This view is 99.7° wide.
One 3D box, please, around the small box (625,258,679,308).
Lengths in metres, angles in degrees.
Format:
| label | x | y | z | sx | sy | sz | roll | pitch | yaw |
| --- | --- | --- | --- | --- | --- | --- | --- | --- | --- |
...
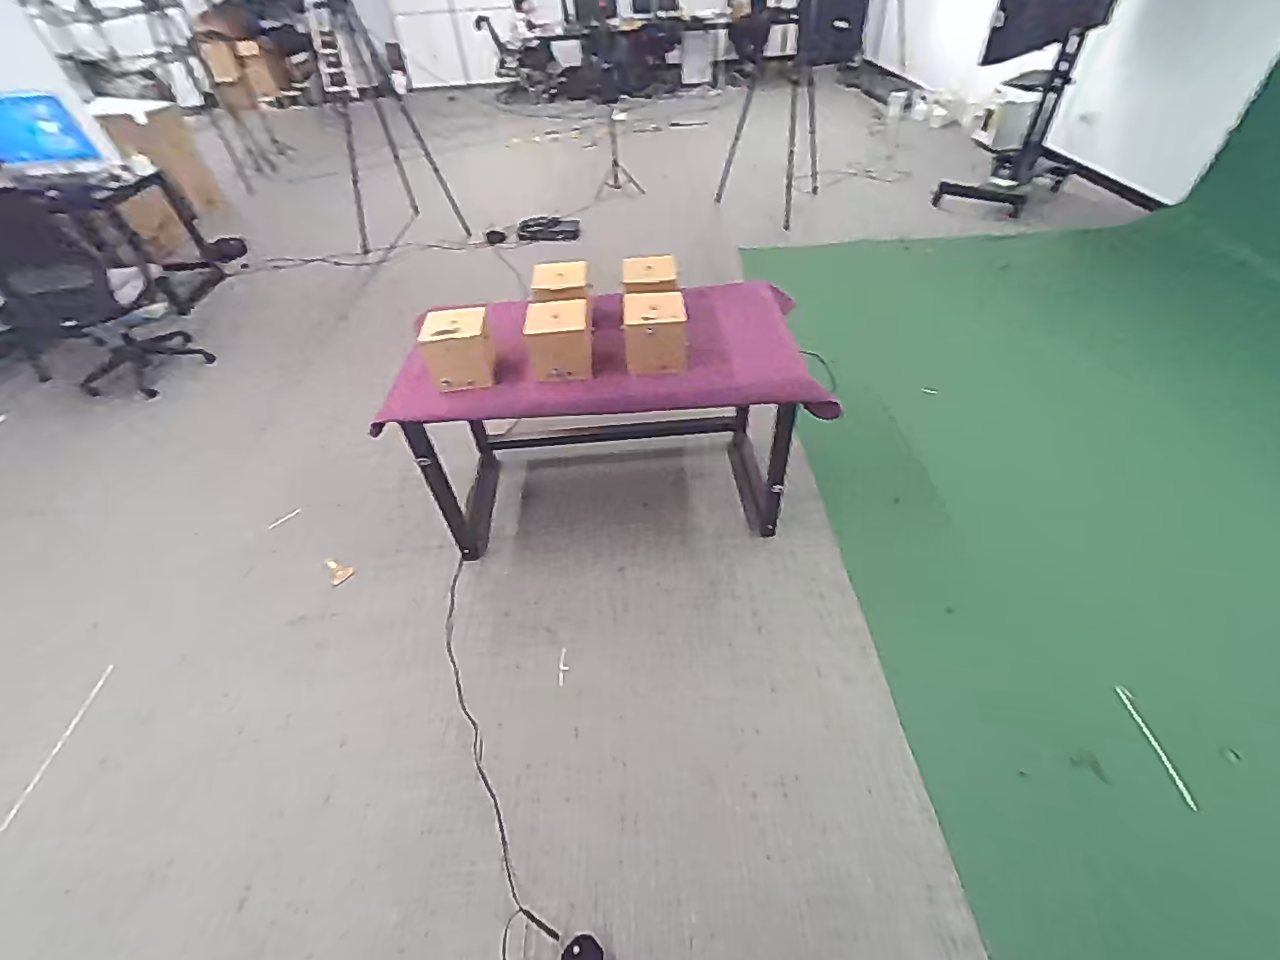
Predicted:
| label | x | y | z | sx | sy | sz | roll | pitch | yaw |
| --- | --- | --- | --- | --- | --- | --- | --- | --- | --- |
| small box | 0.040 | -0.596 | 1.752 | 0.168 | 0.176 | 0.179 | -4 | 46 | 2 |

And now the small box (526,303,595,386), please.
| label | x | y | z | sx | sy | sz | roll | pitch | yaw |
| --- | --- | --- | --- | --- | --- | --- | --- | --- | --- |
| small box | -0.226 | -0.395 | 1.583 | 0.168 | 0.176 | 0.179 | -5 | 46 | 2 |

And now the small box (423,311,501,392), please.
| label | x | y | z | sx | sy | sz | roll | pitch | yaw |
| --- | --- | --- | --- | --- | --- | --- | --- | --- | --- |
| small box | -0.511 | -0.369 | 1.579 | 0.168 | 0.176 | 0.179 | -7 | 43 | -1 |

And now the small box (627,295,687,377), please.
| label | x | y | z | sx | sy | sz | roll | pitch | yaw |
| --- | --- | --- | --- | --- | --- | --- | --- | --- | --- |
| small box | 0.050 | -0.420 | 1.578 | 0.168 | 0.176 | 0.179 | -4 | 44 | 3 |
